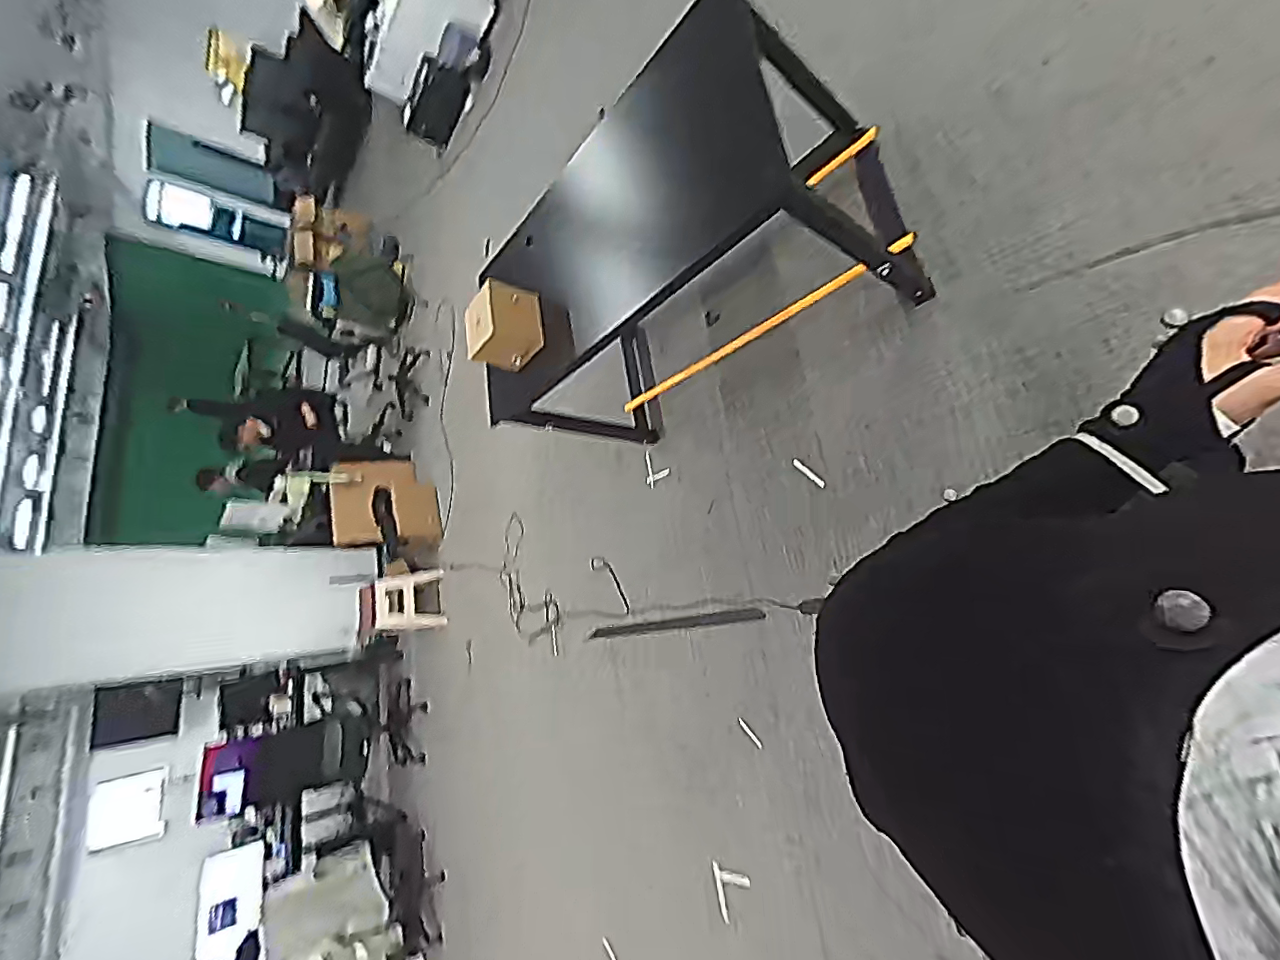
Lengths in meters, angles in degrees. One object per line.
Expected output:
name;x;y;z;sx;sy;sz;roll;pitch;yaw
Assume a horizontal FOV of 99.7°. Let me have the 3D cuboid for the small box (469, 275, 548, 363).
small box;-0.397;-0.476;1.630;0.168;0.176;0.179;-29;66;45
